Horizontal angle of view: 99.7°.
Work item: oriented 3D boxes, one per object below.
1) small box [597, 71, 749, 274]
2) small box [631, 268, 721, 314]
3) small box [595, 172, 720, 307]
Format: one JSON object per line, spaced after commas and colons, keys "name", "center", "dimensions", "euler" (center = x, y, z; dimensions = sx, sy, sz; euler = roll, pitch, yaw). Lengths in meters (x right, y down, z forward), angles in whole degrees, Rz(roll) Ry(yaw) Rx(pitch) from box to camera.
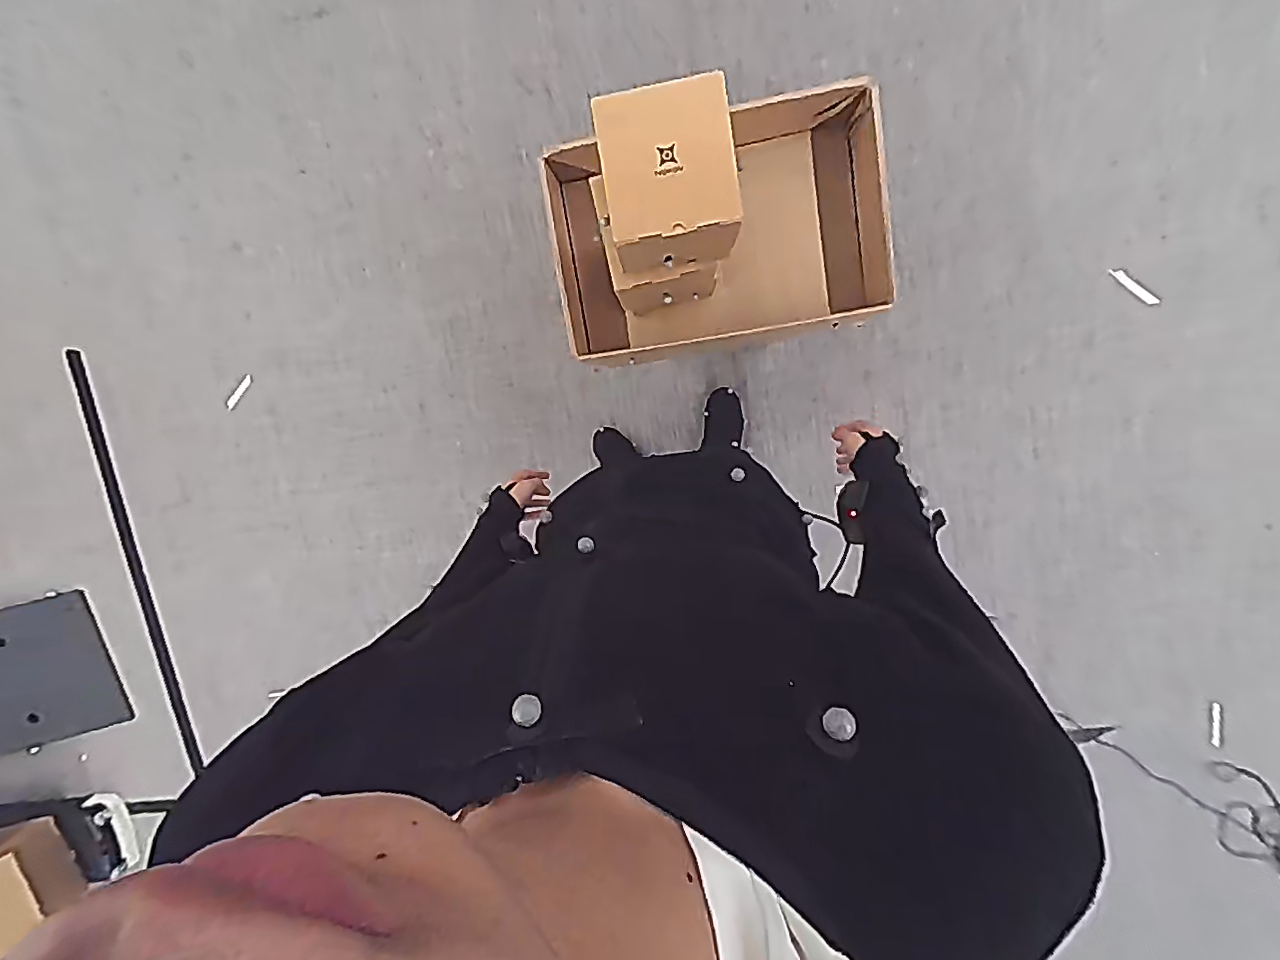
{"name": "small box", "center": [0.044, -0.402, 0.739], "dimensions": [0.168, 0.176, 0.179], "euler": [-10, 98, 5]}
{"name": "small box", "center": [0.050, -0.440, 1.064], "dimensions": [0.179, 0.176, 0.168], "euler": [-15, 97, 6]}
{"name": "small box", "center": [0.030, -0.407, 0.904], "dimensions": [0.168, 0.176, 0.179], "euler": [-13, 97, 5]}
